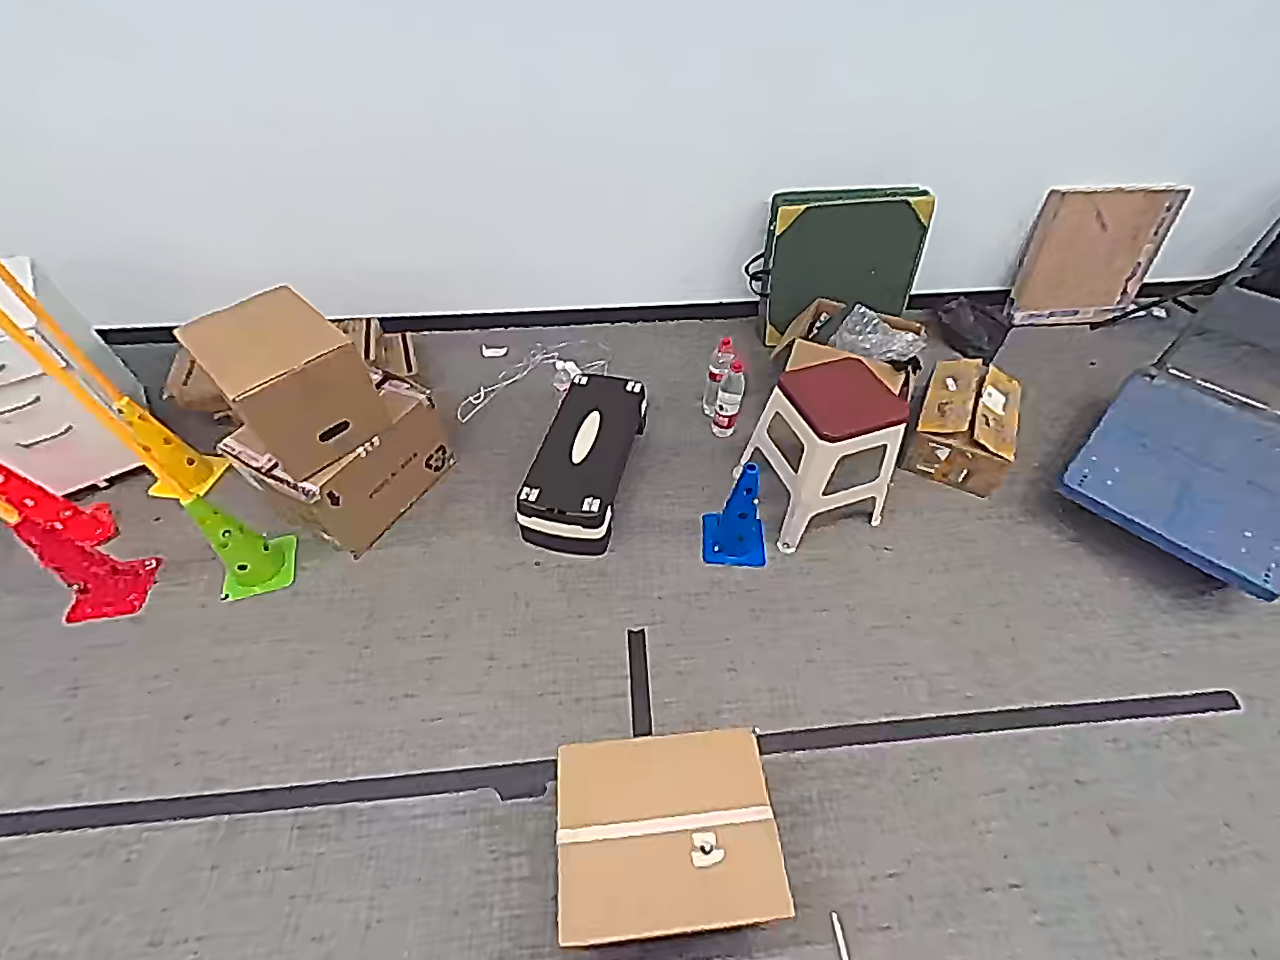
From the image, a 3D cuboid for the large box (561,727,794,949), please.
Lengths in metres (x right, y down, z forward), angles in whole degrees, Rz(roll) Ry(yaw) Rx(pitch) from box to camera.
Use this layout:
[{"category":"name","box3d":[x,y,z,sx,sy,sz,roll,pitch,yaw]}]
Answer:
[{"category":"large box","box3d":[0.050,0.743,1.122,0.408,0.320,0.320,-4,50,-5]}]
